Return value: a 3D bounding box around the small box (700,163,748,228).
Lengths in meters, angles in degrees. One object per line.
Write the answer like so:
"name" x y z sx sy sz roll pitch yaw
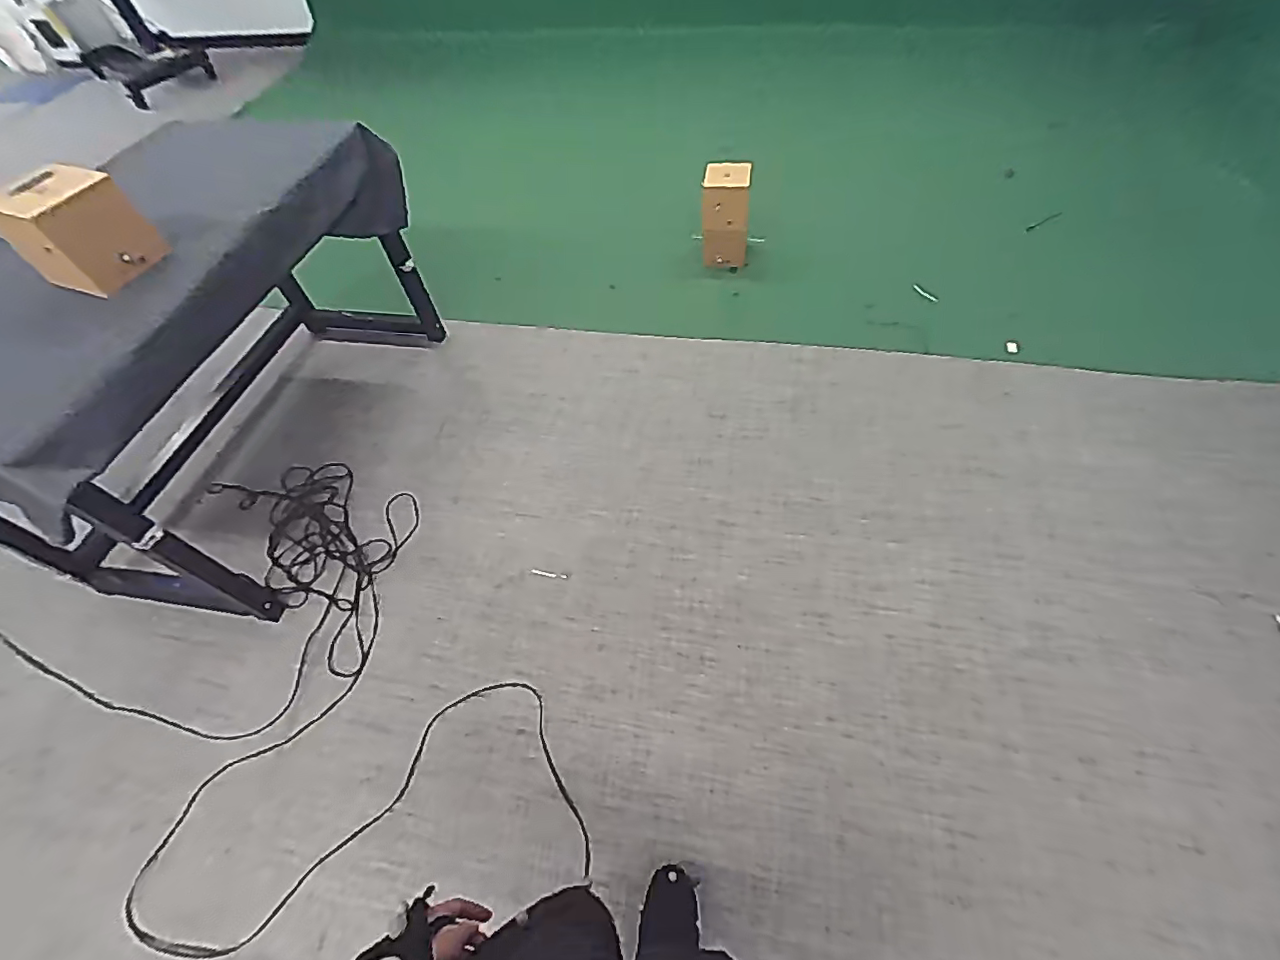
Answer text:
"small box" 0.319 -1.083 2.064 0.168 0.176 0.179 5 55 9

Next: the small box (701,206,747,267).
"small box" 0.340 -0.992 2.198 0.168 0.176 0.179 6 56 9
